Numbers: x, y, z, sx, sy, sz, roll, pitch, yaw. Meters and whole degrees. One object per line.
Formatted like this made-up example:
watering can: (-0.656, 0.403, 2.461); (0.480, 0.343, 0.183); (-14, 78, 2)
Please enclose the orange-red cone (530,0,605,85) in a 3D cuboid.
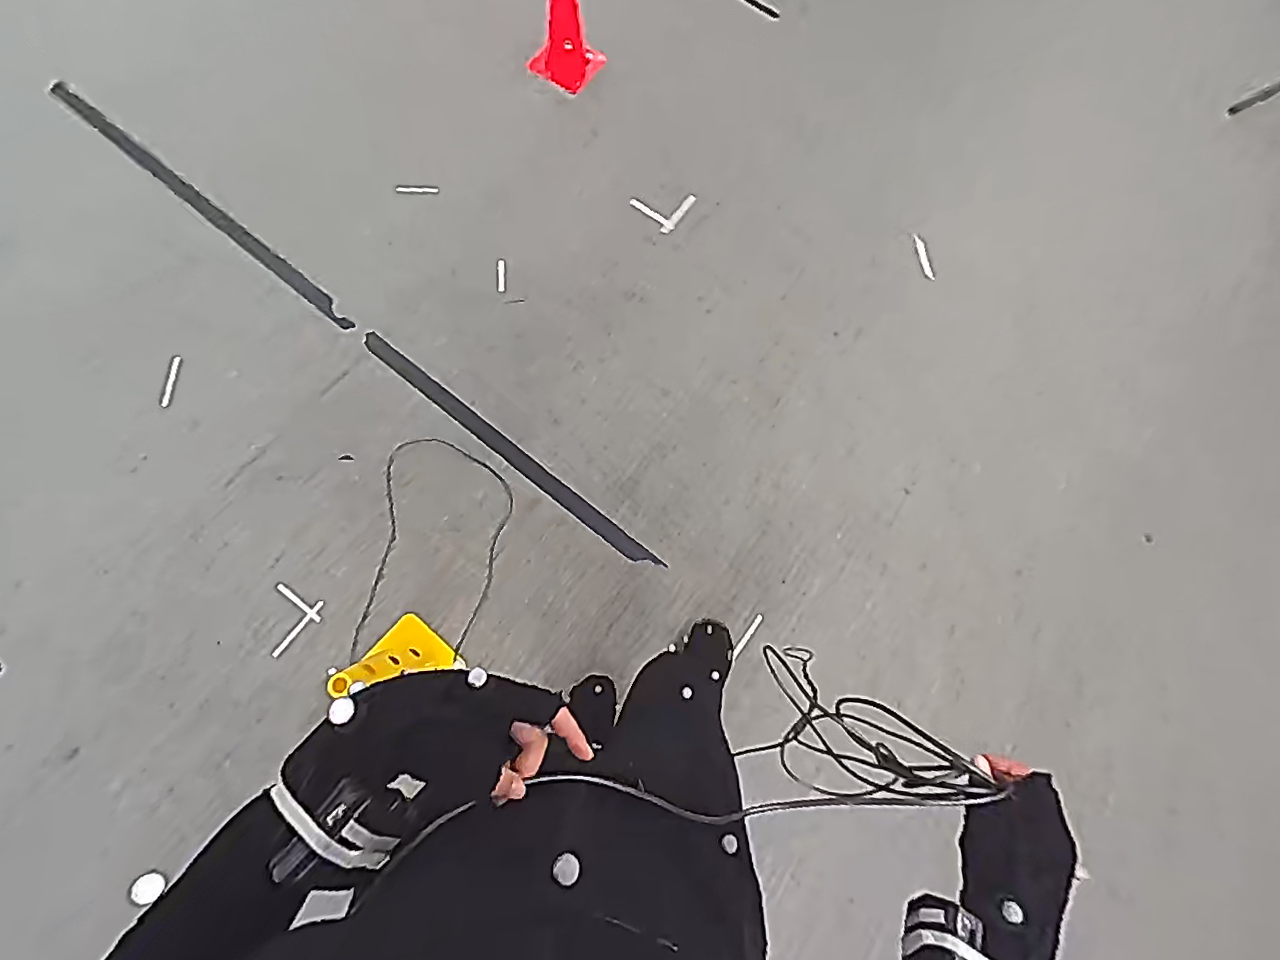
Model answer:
orange-red cone: (-0.229, -1.455, 1.630); (0.199, 0.360, 0.198); (33, 74, 7)
